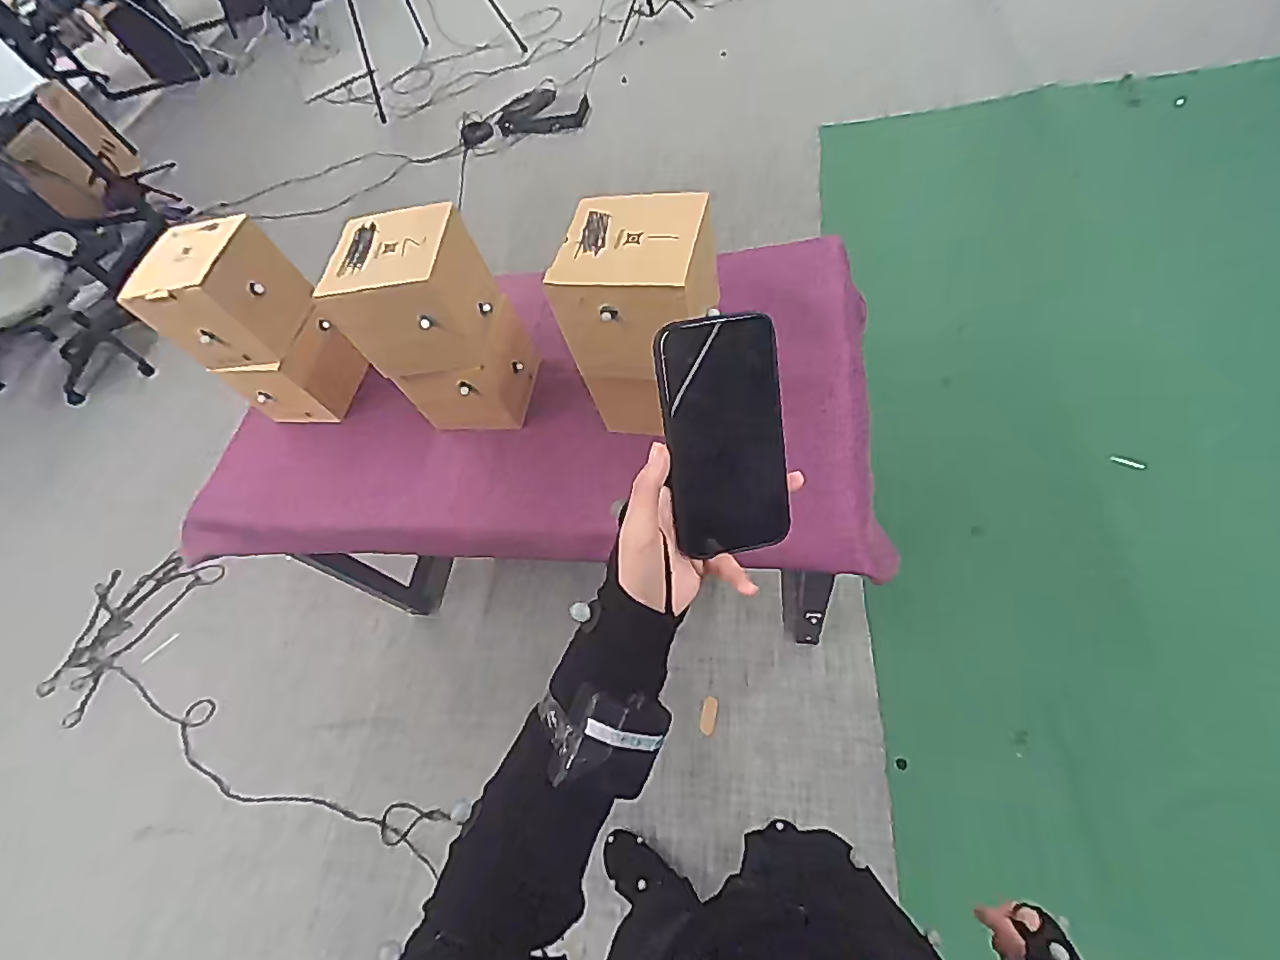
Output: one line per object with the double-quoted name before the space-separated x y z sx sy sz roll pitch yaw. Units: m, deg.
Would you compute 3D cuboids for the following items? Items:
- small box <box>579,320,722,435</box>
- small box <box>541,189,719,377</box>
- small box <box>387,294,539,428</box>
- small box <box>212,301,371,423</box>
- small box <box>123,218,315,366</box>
"small box" 0.029 -0.186 0.864 0.179 0.176 0.168 6 62 18
"small box" -0.001 -0.253 0.717 0.179 0.176 0.168 6 62 17
"small box" -0.298 -0.203 0.957 0.179 0.176 0.168 1 61 15
"small box" -0.672 -0.225 1.069 0.168 0.176 0.179 1 61 15
"small box" -0.707 -0.313 0.934 0.168 0.176 0.179 -3 61 12
